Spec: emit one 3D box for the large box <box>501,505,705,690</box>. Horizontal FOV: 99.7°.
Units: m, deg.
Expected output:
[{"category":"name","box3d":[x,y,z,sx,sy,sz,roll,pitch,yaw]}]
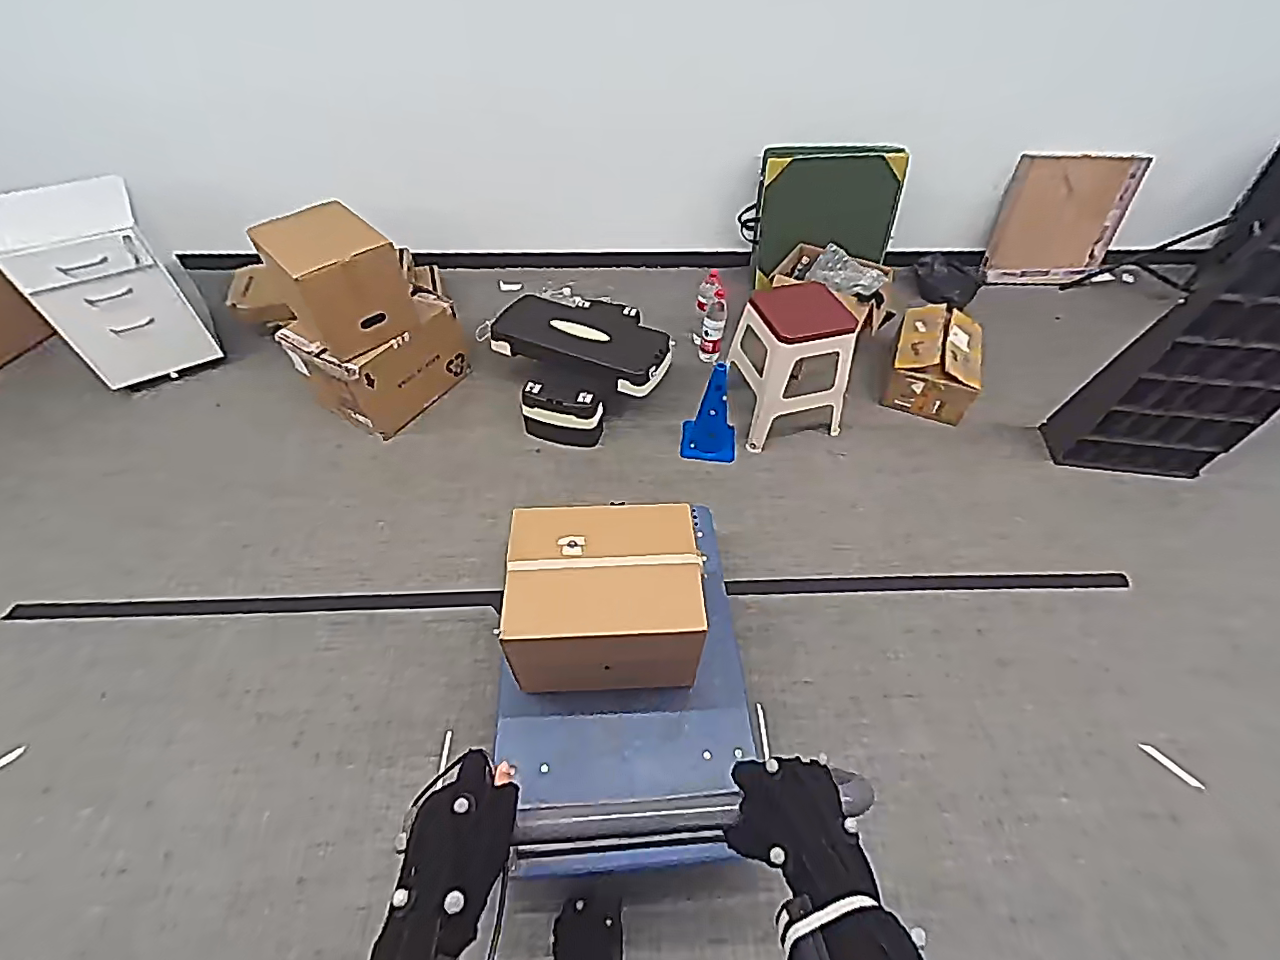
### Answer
[{"category":"large box","box3d":[-0.079,0.278,1.255,0.408,0.320,0.320,-2,50,-2]}]
